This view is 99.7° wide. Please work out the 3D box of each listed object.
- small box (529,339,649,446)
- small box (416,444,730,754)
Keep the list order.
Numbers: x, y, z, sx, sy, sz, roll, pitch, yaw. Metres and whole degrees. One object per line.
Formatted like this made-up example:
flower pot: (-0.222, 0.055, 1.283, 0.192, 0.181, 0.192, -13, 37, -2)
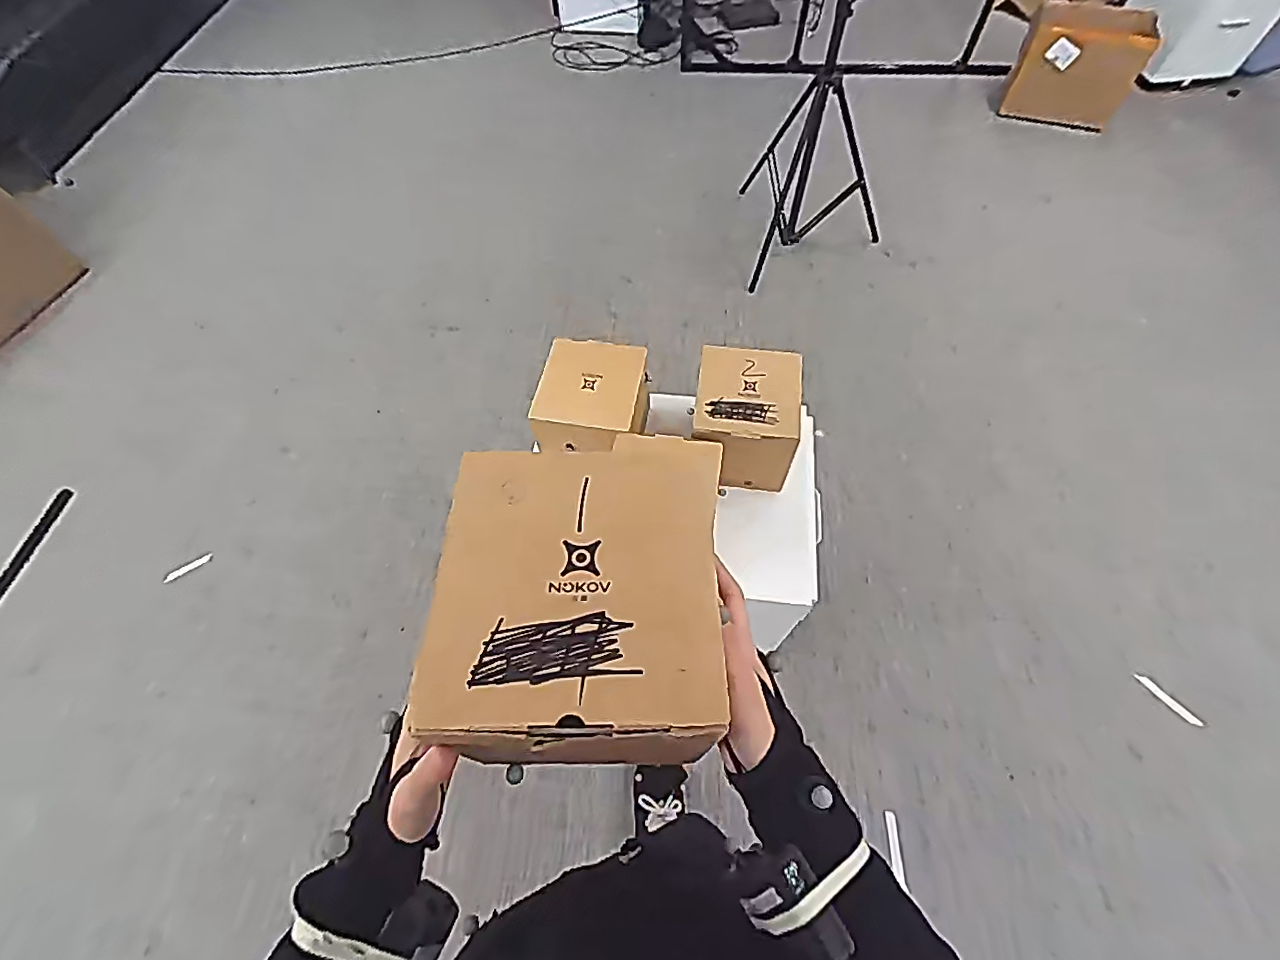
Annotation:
small box: (-0.077, -0.118, 0.947, 0.168, 0.176, 0.179, 8, 61, 6)
small box: (-0.035, 0.092, 0.386, 0.168, 0.176, 0.179, 0, 57, -1)
